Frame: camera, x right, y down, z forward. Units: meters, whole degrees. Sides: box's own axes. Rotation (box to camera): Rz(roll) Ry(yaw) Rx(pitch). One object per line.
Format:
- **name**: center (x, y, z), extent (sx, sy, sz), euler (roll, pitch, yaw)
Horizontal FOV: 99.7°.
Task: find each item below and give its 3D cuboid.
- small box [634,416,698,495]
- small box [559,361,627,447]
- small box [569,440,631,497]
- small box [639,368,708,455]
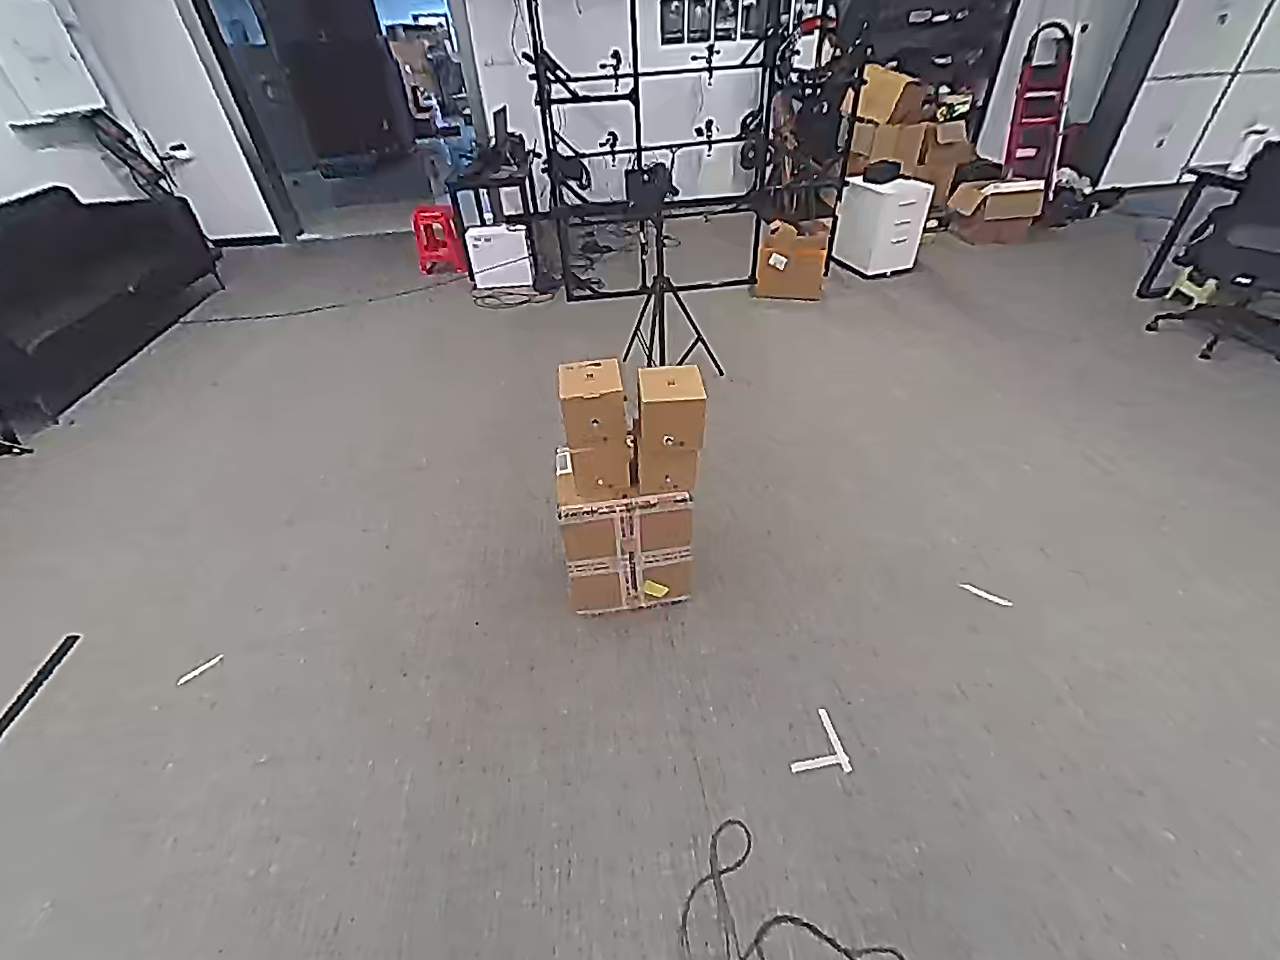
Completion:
- **small box**: center (0.072, -0.077, 1.596), extent (0.168, 0.176, 0.179), euler (-6, 41, -4)
- **small box**: center (-0.129, -0.205, 1.505), extent (0.168, 0.176, 0.179), euler (-8, 43, -3)
- **small box**: center (-0.121, -0.074, 1.605), extent (0.168, 0.176, 0.179), euler (-9, 43, -5)
- **small box**: center (0.084, -0.187, 1.473), extent (0.168, 0.176, 0.179), euler (-5, 42, -3)
